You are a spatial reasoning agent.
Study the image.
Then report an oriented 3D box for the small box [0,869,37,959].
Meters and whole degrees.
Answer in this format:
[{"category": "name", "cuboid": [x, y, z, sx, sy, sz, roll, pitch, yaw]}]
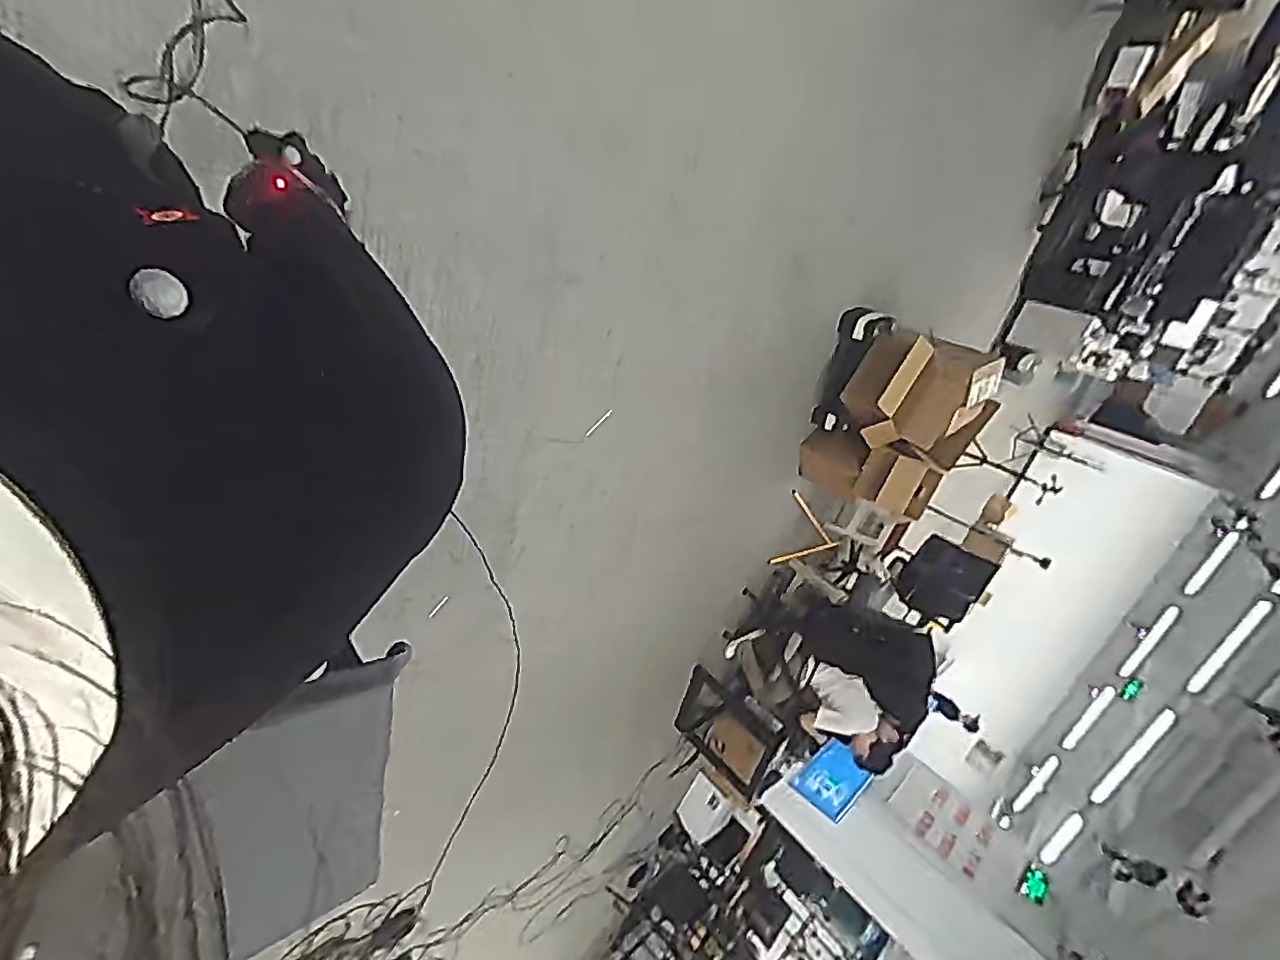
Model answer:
[{"category": "small box", "cuboid": [-0.813, 0.599, 0.603, 0.179, 0.176, 0.168, -9, 124, -46]}]
